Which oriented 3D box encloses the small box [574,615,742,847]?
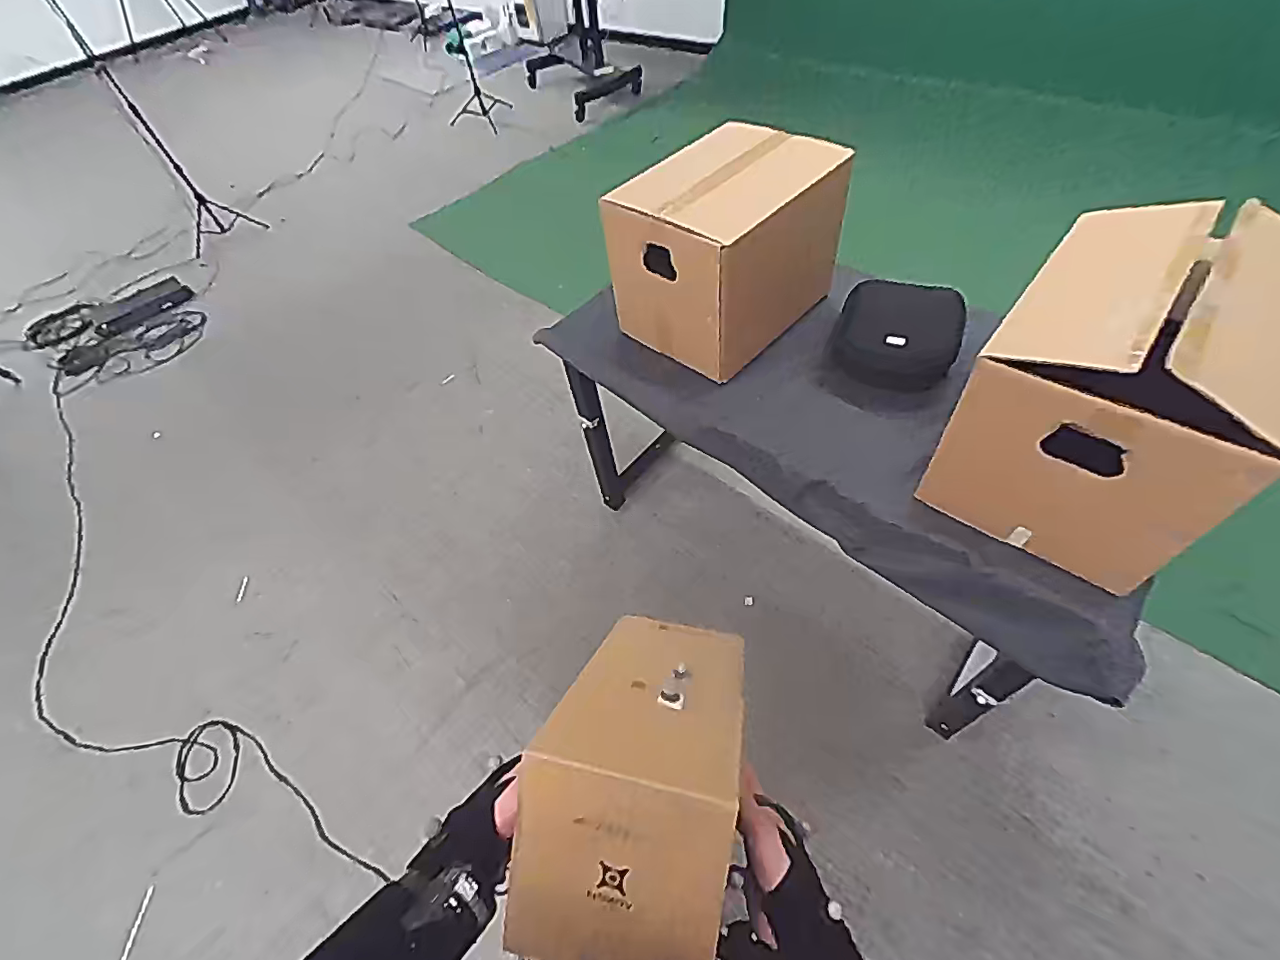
[{"bbox_3d":[0.031,0.285,0.653,0.168,0.176,0.179,7,97,10],"label":"small box"}]
